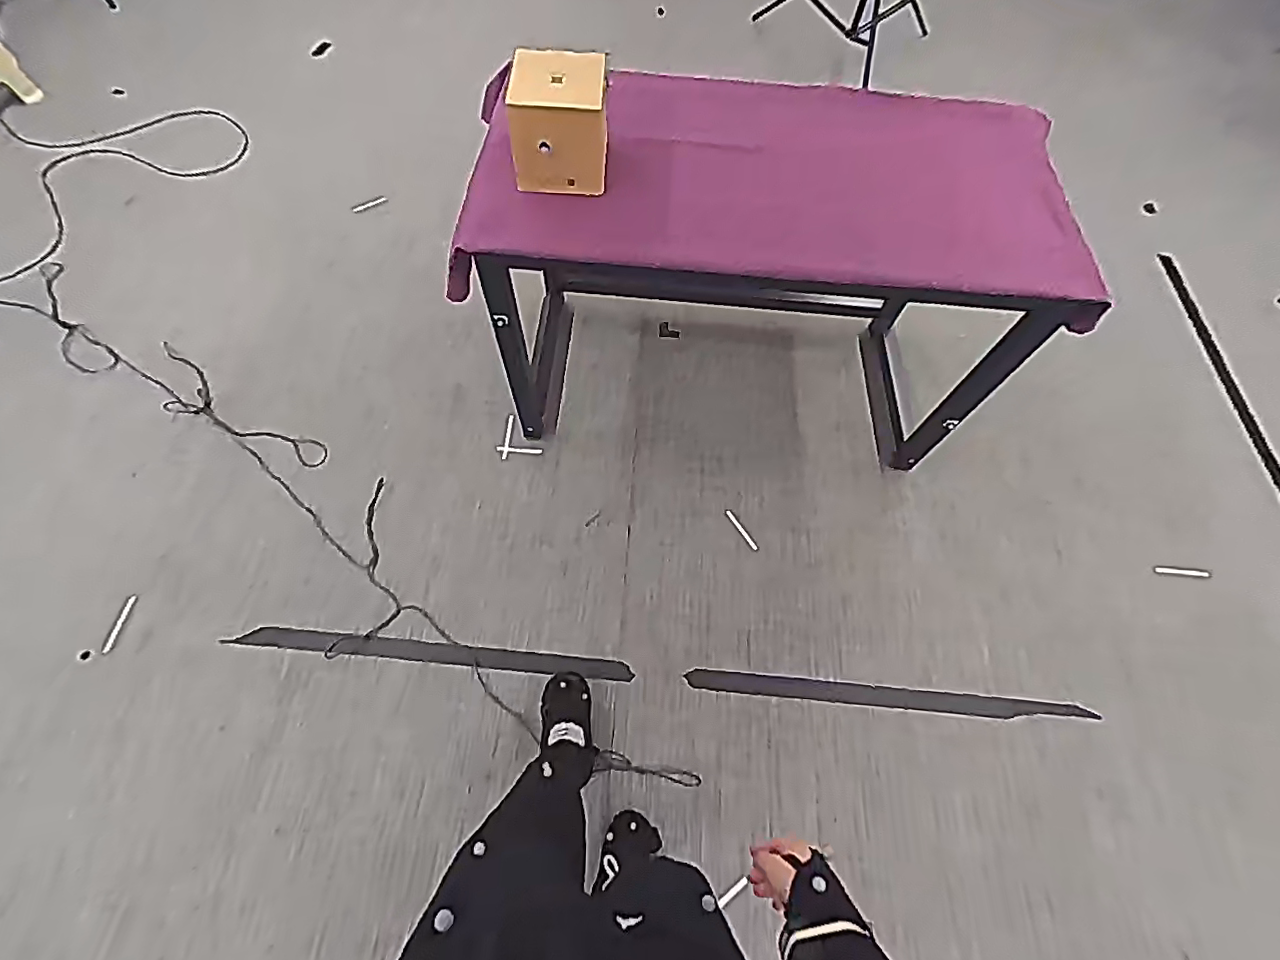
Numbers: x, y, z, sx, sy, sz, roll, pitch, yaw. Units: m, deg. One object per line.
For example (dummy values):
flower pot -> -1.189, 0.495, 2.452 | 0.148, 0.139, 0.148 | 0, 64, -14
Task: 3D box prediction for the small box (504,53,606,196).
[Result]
small box -> -0.151, -0.668, 1.027 | 0.168, 0.176, 0.179 | 1, 63, -2
